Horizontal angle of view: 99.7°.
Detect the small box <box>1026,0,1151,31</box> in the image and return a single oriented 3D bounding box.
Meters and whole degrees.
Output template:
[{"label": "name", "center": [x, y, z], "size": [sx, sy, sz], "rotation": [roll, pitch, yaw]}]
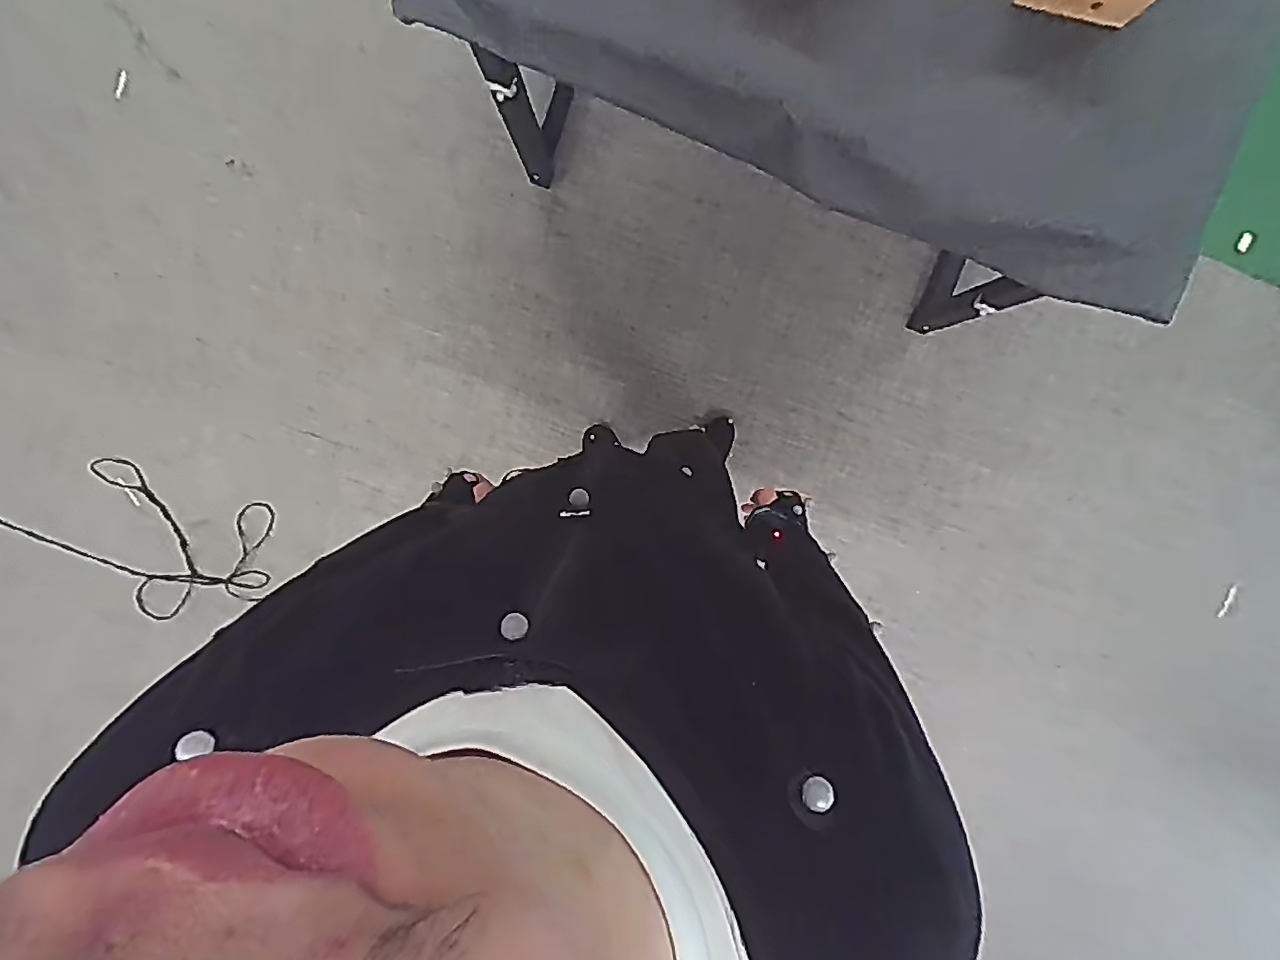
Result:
[{"label": "small box", "center": [0.626, -0.732, 0.689], "size": [0.168, 0.176, 0.179], "rotation": [11, 95, -4]}]
